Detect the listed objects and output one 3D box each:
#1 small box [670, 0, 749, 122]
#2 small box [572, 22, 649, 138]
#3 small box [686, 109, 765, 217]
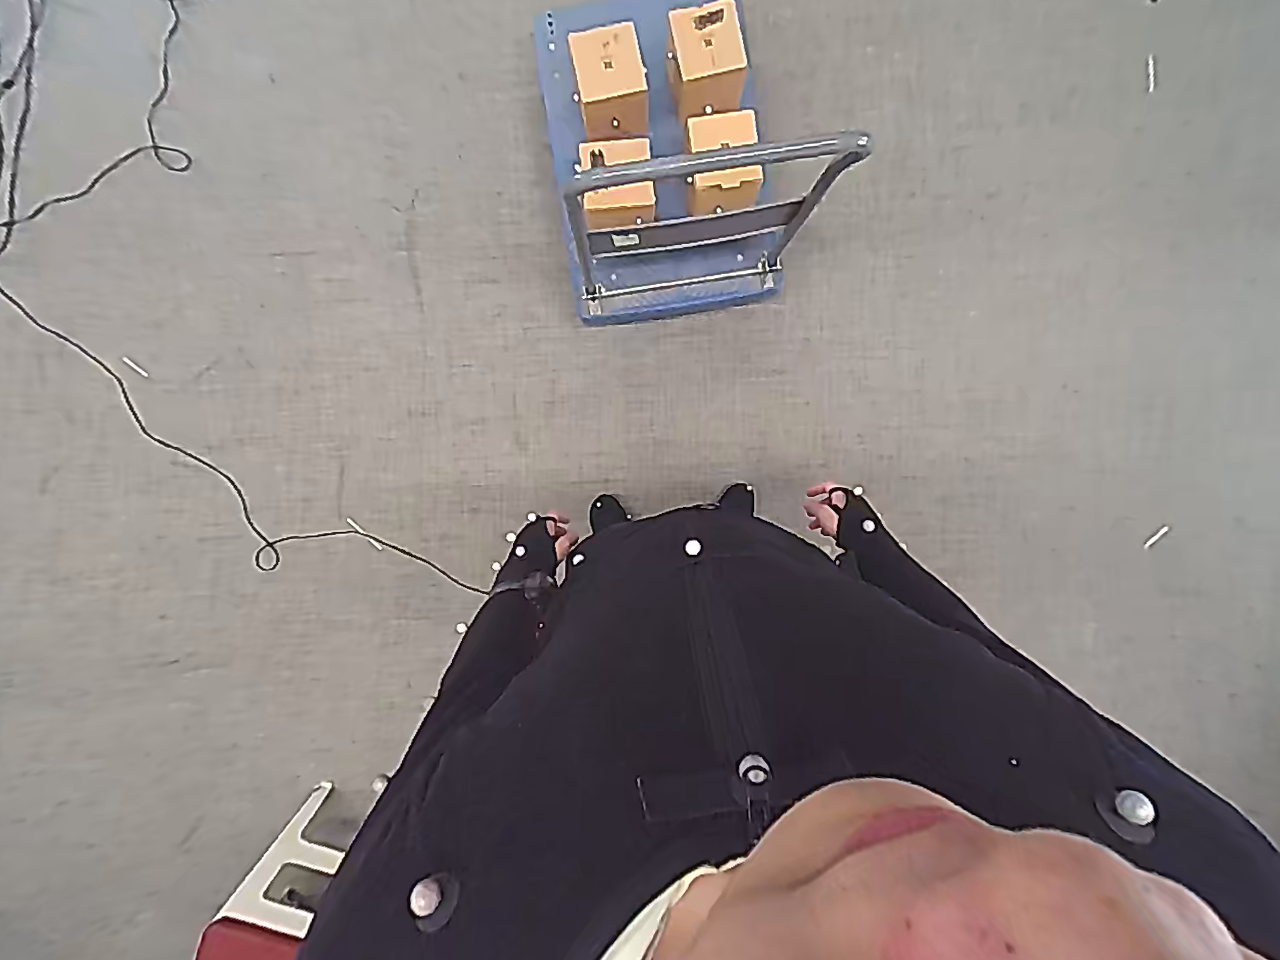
[{"bbox_3d":[0.174,-1.085,1.408,0.168,0.176,0.179,-12,90,2],"label":"small box"},{"bbox_3d":[-0.072,-1.030,1.412,0.168,0.176,0.179,-12,90,0],"label":"small box"},{"bbox_3d":[0.216,-0.818,1.408,0.168,0.176,0.179,-8,90,0],"label":"small box"}]
